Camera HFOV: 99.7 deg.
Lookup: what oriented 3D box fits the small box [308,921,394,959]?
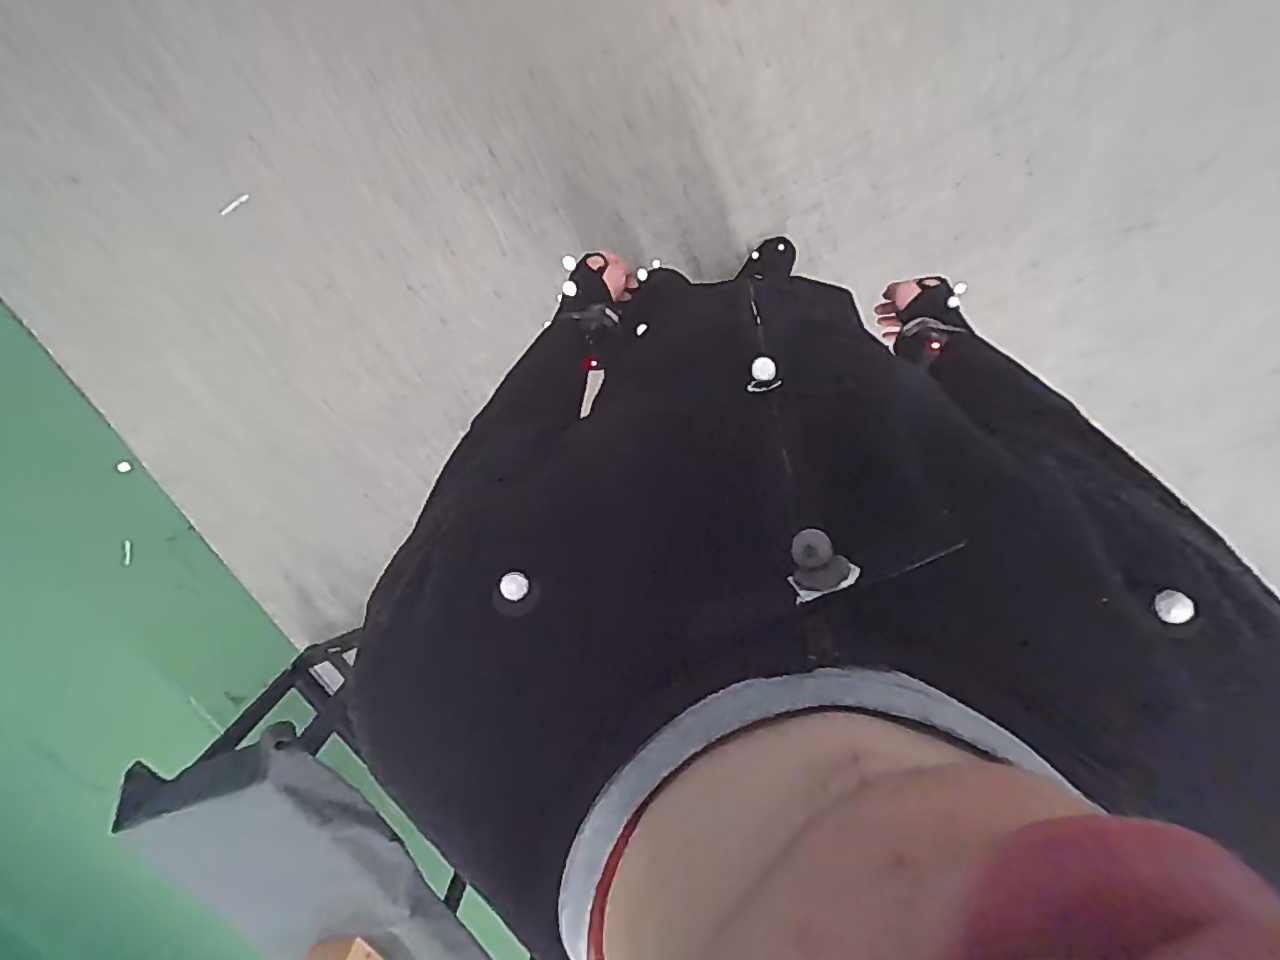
[{"bbox_3d":[-0.815,1.360,1.493,0.179,0.176,0.168,-22,110,17],"label":"small box"}]
